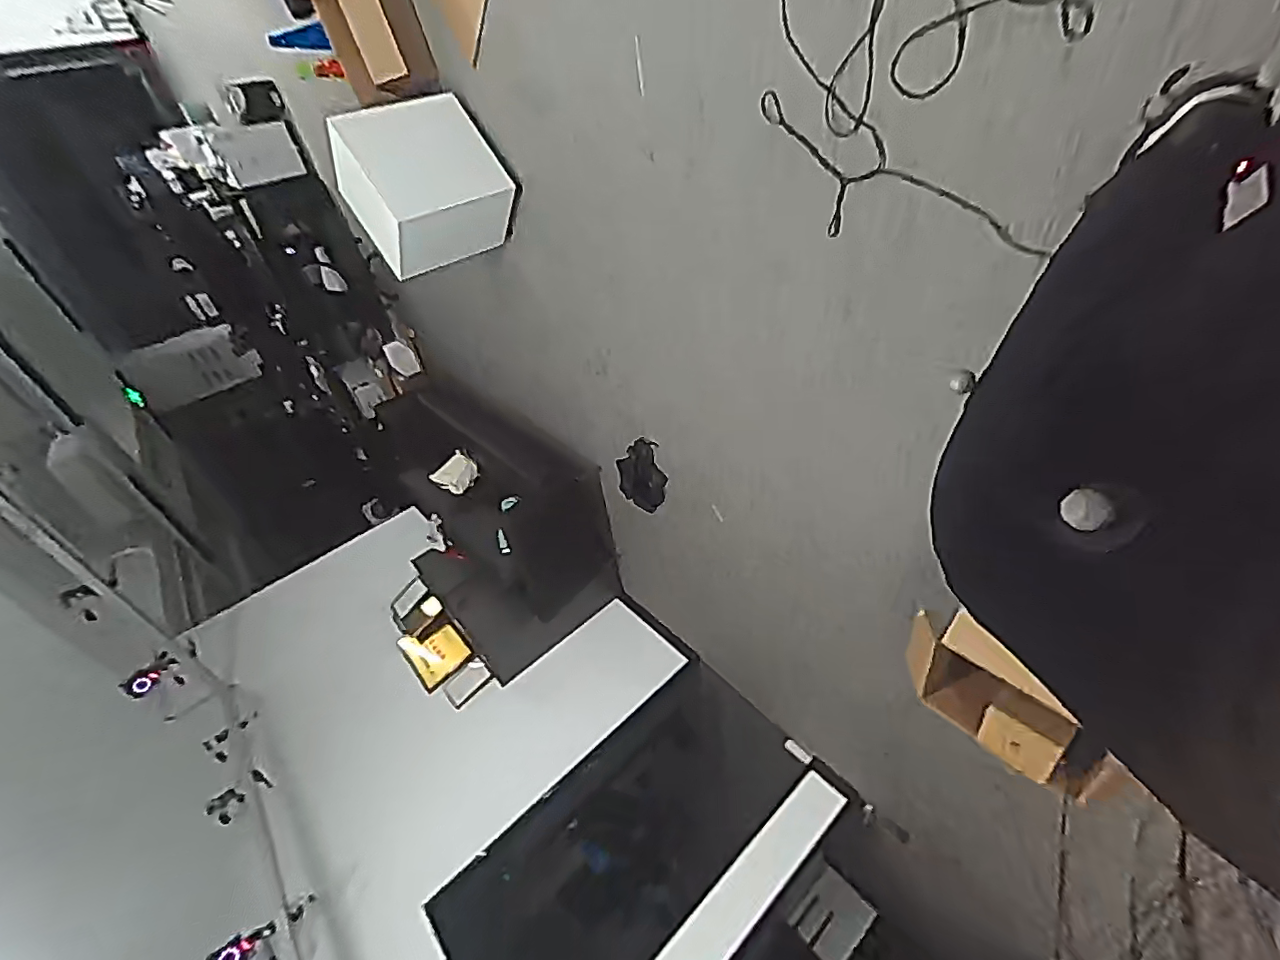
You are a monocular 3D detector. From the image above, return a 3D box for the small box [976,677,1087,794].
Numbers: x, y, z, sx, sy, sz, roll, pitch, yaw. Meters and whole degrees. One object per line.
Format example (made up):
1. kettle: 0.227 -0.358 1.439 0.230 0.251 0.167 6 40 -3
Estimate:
1. small box: 1.011 0.654 1.398 0.168 0.176 0.179 31 142 43
